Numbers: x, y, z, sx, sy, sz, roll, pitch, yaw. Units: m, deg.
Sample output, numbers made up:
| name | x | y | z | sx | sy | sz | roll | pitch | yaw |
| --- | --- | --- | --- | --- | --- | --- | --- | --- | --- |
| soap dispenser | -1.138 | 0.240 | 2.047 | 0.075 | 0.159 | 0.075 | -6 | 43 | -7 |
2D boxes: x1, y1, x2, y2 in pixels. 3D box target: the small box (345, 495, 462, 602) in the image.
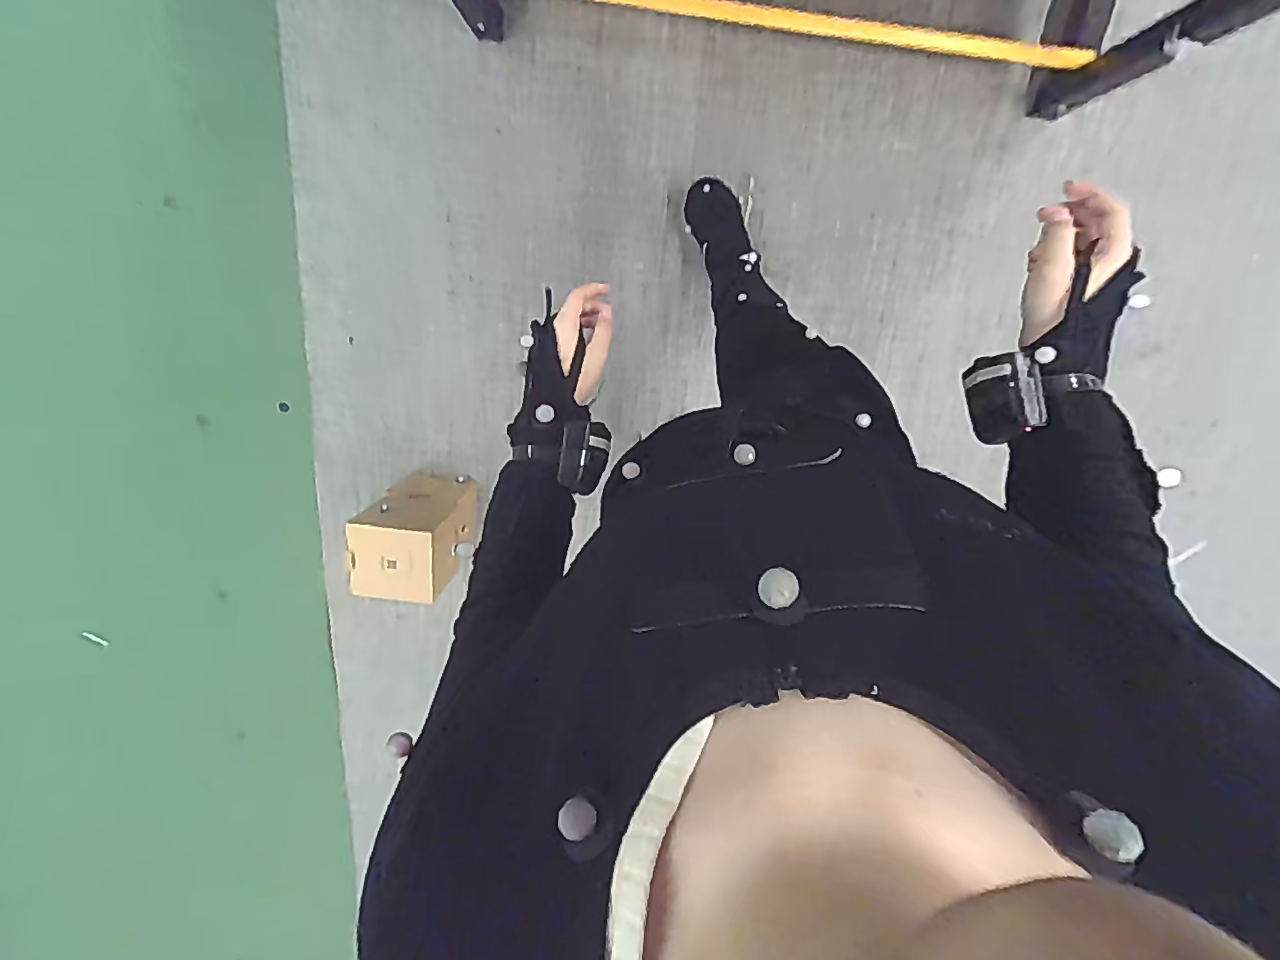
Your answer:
| name | x | y | z | sx | sy | sz | roll | pitch | yaw |
| --- | --- | --- | --- | --- | --- | --- | --- | --- | --- |
| small box | -0.498 | 0.140 | 1.160 | 0.179 | 0.176 | 0.168 | 5 | 109 | 0 |

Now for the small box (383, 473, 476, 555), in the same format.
| name | x | y | z | sx | sy | sz | roll | pitch | yaw |
| --- | --- | --- | --- | --- | --- | --- | --- | --- | --- |
| small box | -0.507 | 0.093 | 1.317 | 0.168 | 0.176 | 0.179 | 9 | 109 | 0 |
